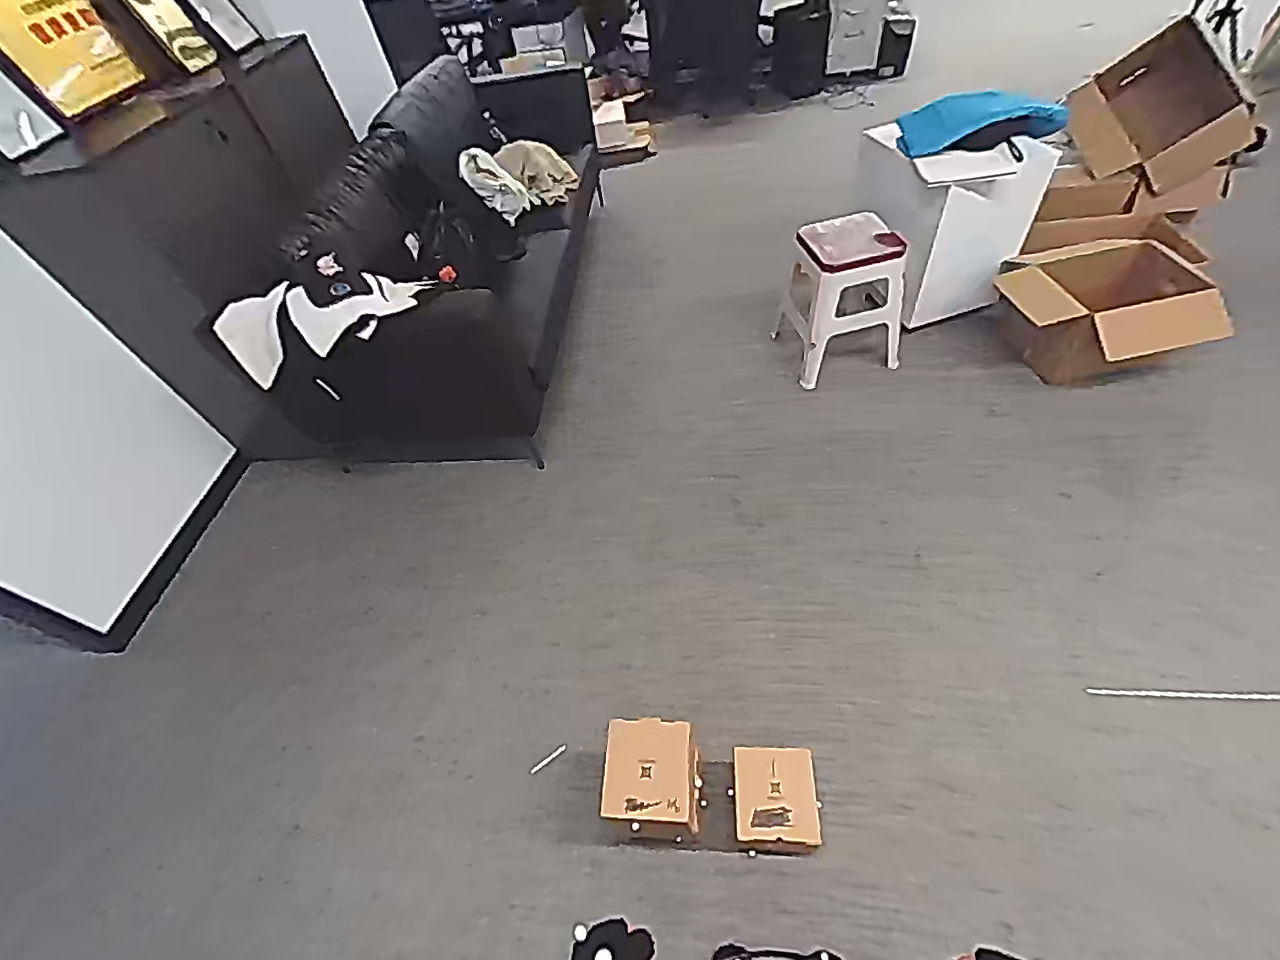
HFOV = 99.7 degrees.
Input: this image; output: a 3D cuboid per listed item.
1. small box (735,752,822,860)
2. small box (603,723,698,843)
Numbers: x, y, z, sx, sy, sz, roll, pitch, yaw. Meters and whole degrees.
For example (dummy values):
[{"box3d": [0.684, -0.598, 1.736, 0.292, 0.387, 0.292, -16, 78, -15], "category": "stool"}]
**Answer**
[{"box3d": [0.294, 0.711, 1.177, 0.168, 0.176, 0.179, -2, 49, 8], "category": "small box"}, {"box3d": [0.029, 0.613, 1.095, 0.168, 0.176, 0.179, -2, 49, 9], "category": "small box"}]
